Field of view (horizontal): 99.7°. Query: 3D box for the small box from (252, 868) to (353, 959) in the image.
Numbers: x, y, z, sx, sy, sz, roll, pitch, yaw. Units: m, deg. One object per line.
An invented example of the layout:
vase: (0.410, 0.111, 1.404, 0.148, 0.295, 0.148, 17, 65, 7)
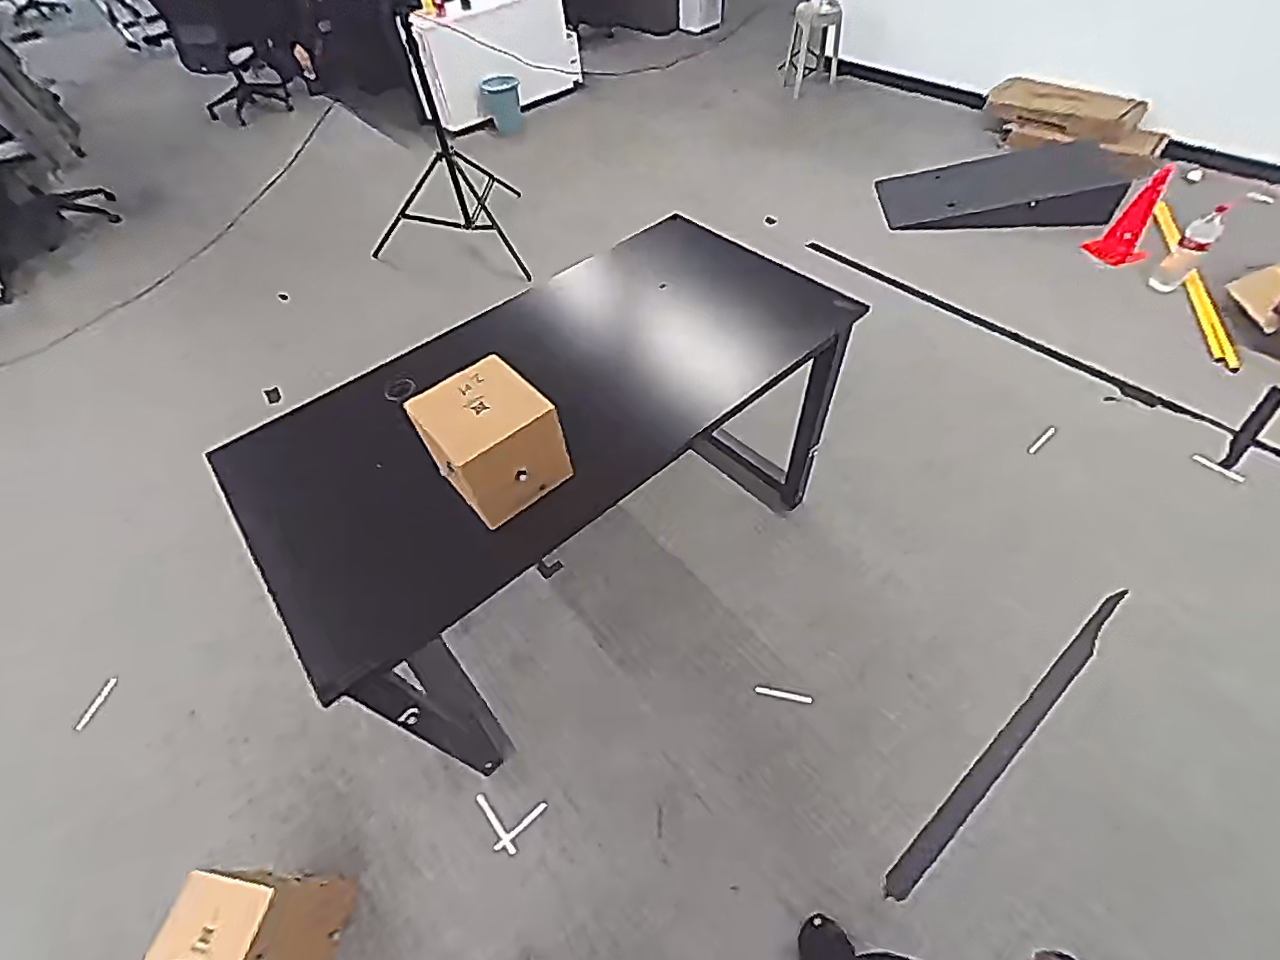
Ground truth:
small box: (-0.723, 0.917, 1.103, 0.168, 0.176, 0.179, 5, 53, 8)

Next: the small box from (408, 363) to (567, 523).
small box: (-0.239, -0.053, 0.886, 0.168, 0.176, 0.179, -36, 57, -21)

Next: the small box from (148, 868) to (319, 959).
small box: (-0.721, 0.821, 0.968, 0.168, 0.176, 0.179, 6, 53, 9)
